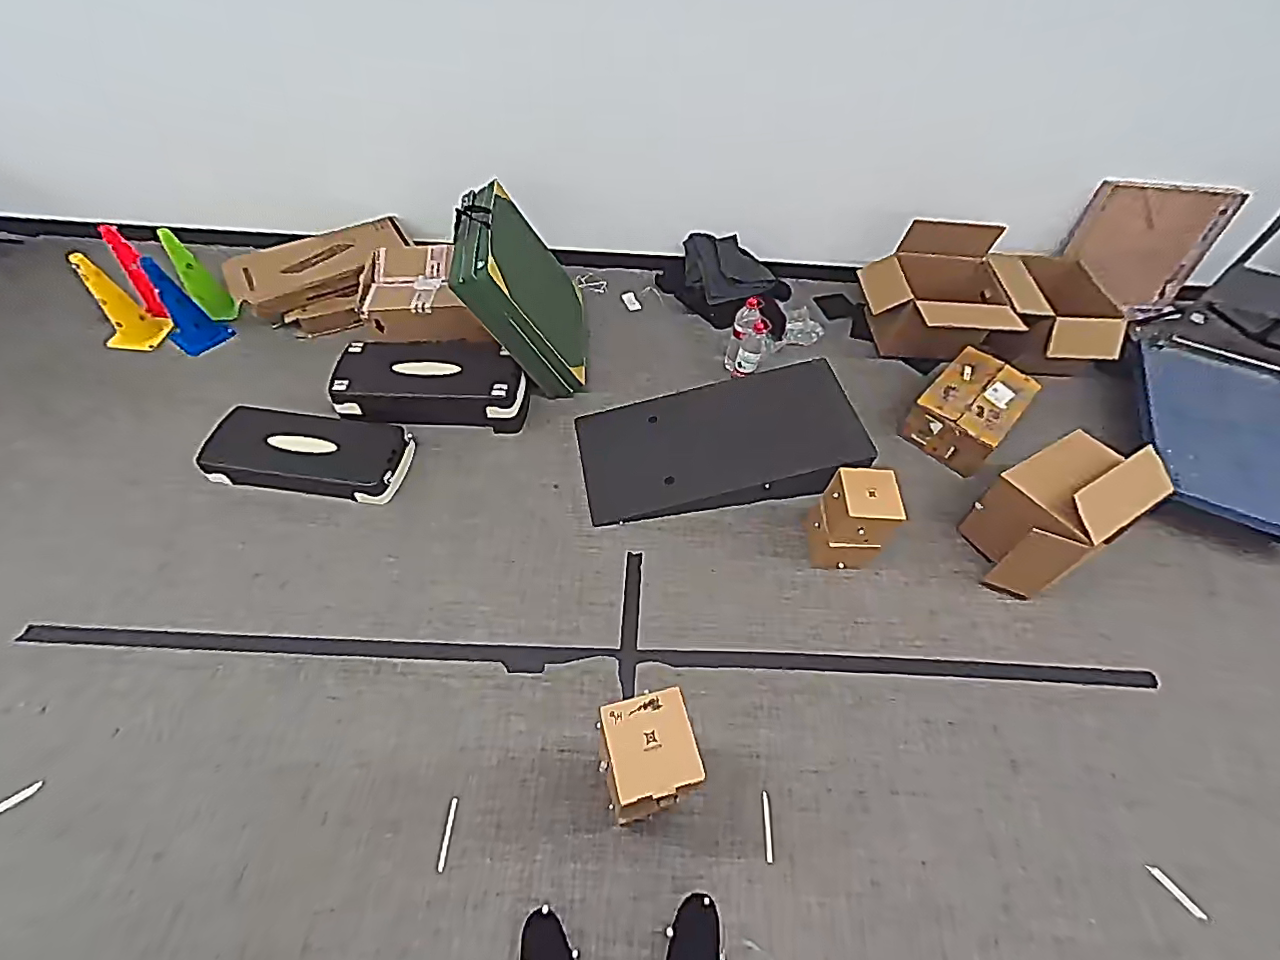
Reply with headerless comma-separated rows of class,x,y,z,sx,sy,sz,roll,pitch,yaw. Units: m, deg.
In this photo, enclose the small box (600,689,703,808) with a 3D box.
small box,0.017,0.547,1.096,0.168,0.176,0.179,-10,57,-11
